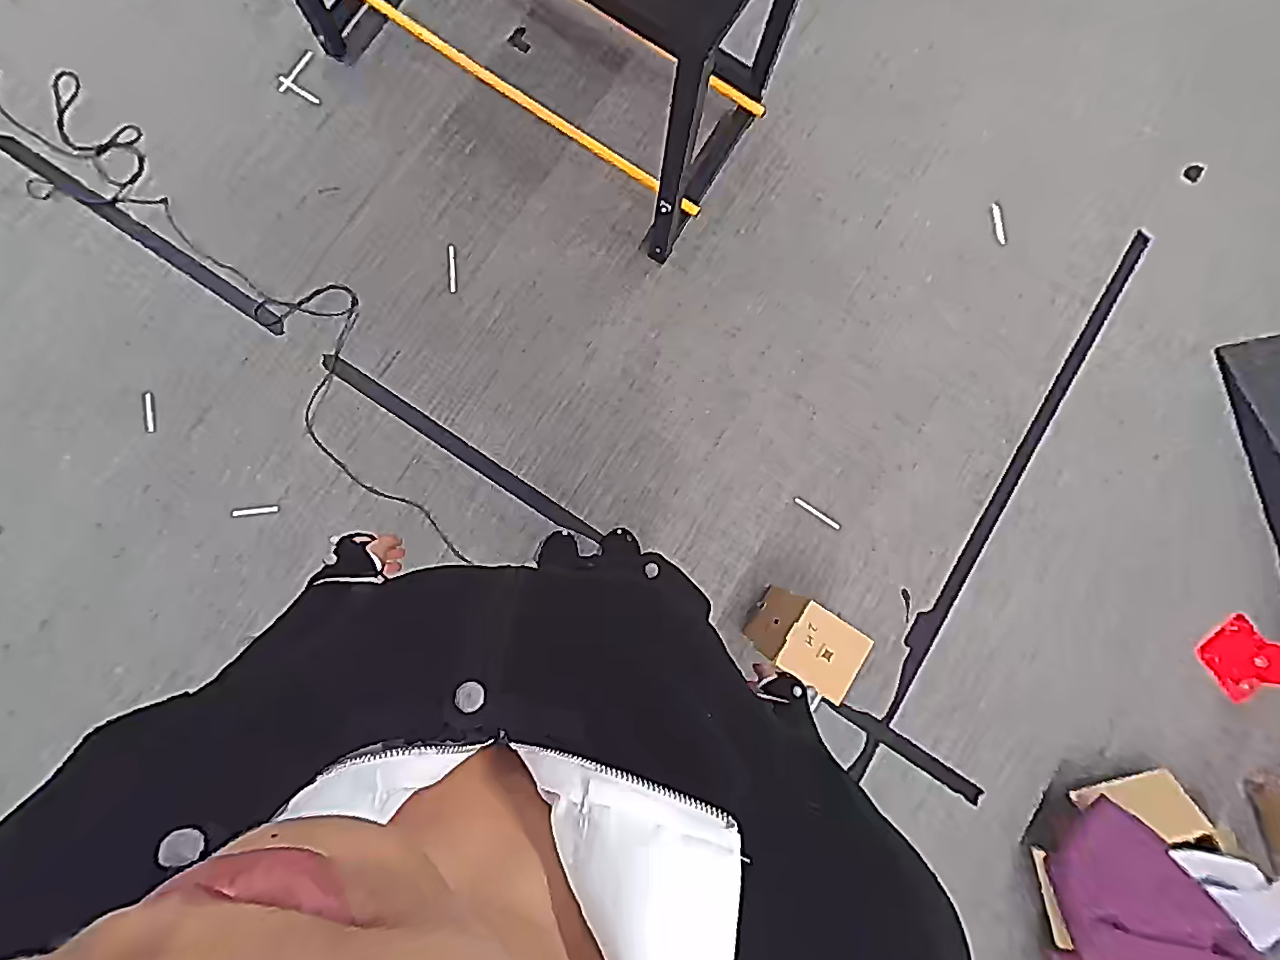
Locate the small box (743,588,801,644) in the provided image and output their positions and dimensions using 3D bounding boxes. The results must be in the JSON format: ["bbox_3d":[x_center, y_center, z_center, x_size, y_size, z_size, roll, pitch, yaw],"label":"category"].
[{"bbox_3d":[0.403,0.402,1.441,0.179,0.176,0.168,33,83,1],"label":"small box"}]

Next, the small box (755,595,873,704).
[{"bbox_3d":[0.402,0.388,1.276,0.179,0.176,0.168,34,82,0],"label":"small box"}]
